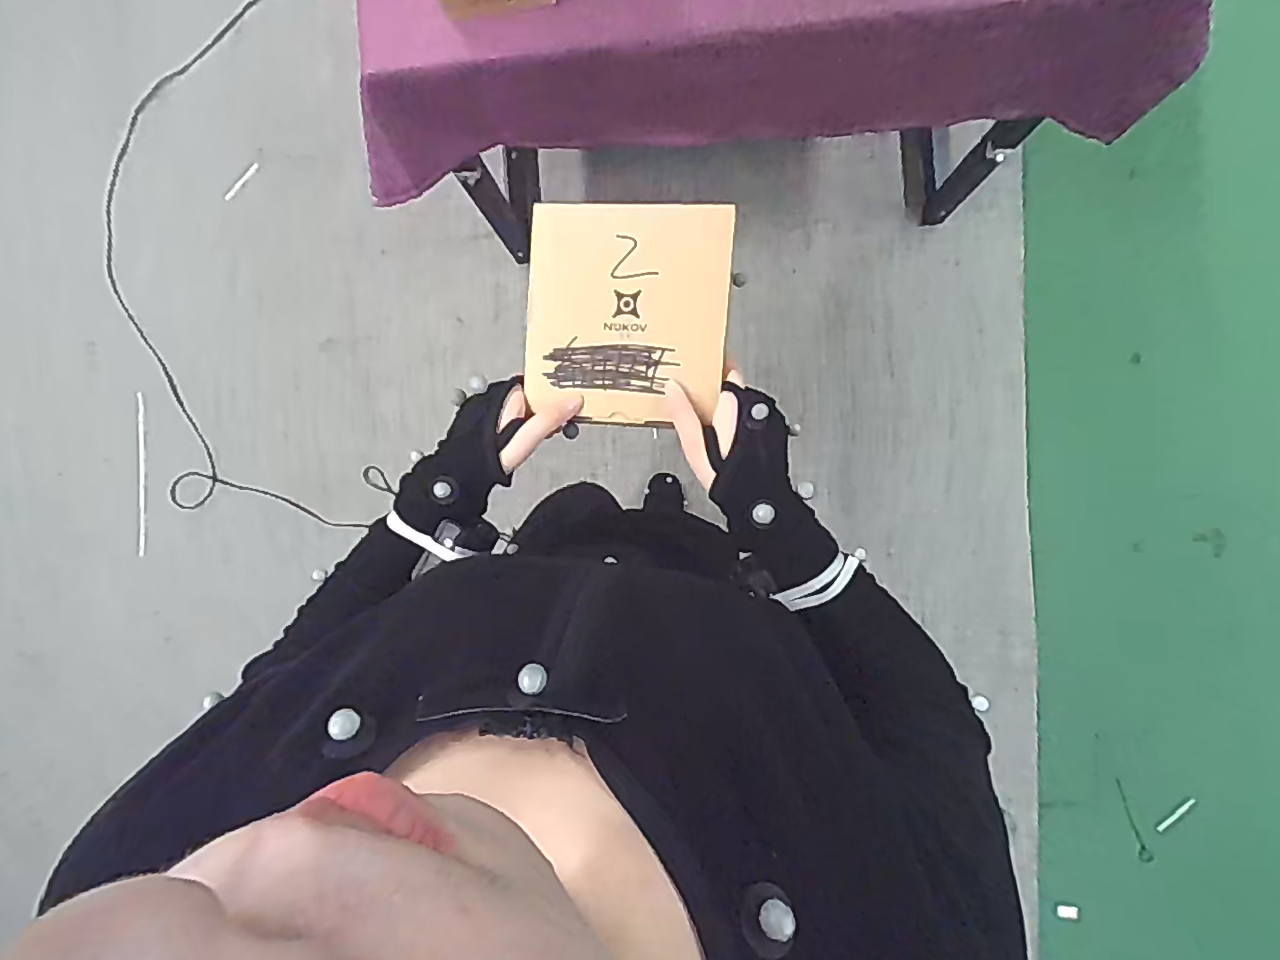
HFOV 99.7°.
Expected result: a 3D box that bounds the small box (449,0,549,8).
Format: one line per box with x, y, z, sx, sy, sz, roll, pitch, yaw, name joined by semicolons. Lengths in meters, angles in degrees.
-0.214;-0.780;0.721;0.168;0.176;0.179;-5;88;2;small box
